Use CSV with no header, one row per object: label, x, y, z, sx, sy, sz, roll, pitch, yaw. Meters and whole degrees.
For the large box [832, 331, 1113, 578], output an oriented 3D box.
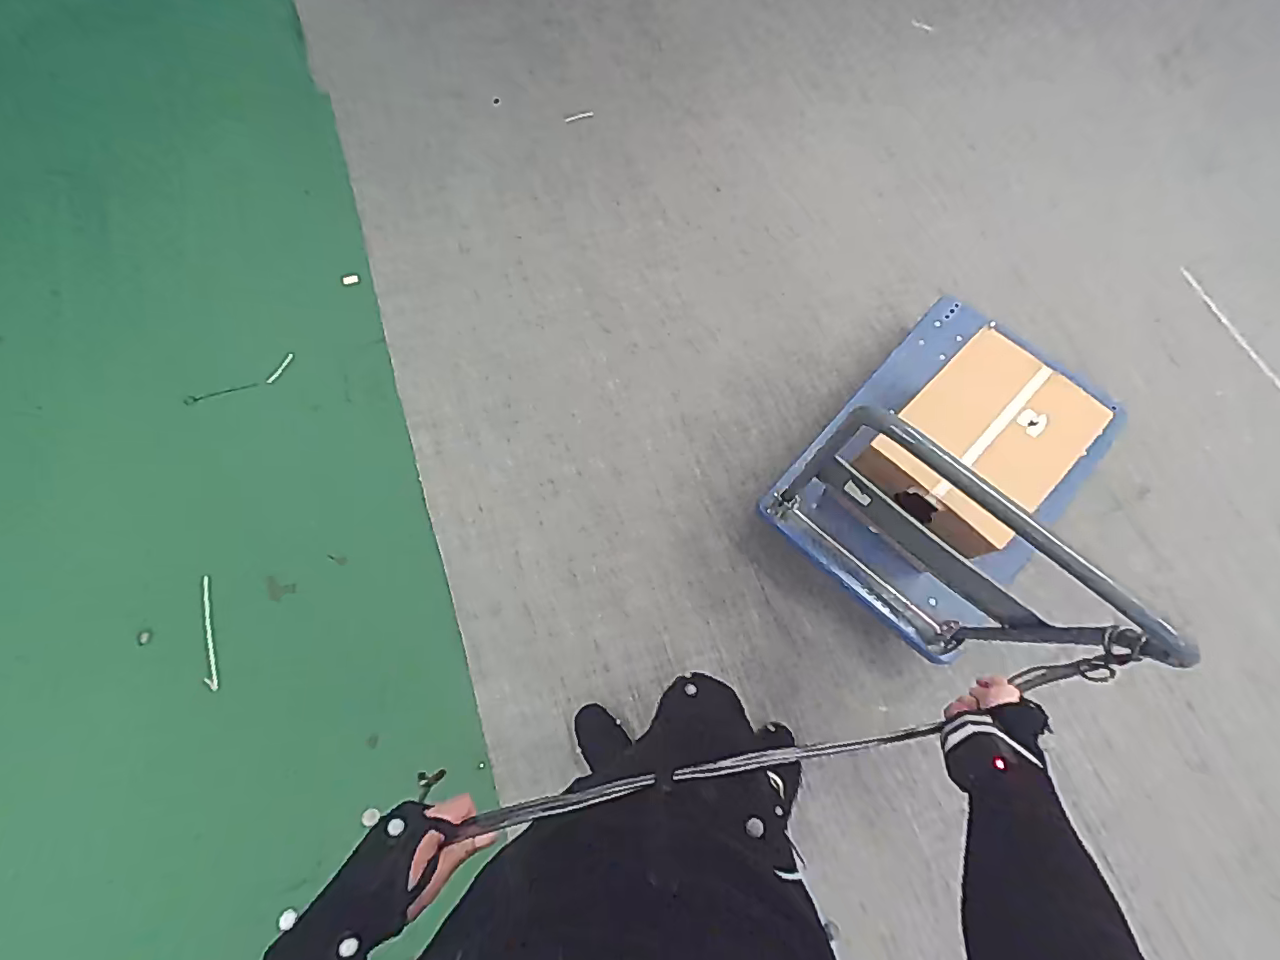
large box,0.719,-0.043,1.230,0.408,0.320,0.320,-43,76,-12
